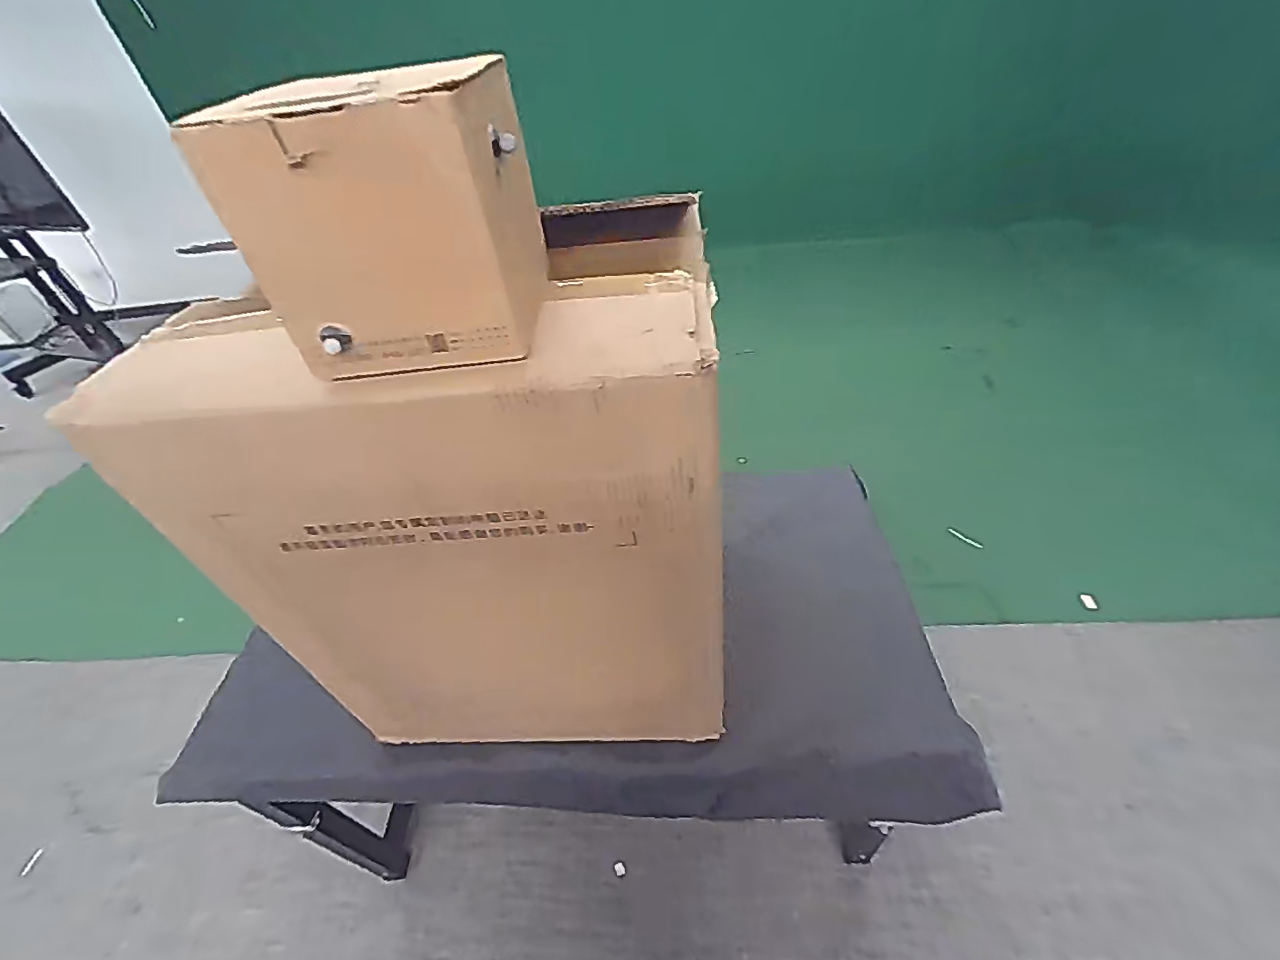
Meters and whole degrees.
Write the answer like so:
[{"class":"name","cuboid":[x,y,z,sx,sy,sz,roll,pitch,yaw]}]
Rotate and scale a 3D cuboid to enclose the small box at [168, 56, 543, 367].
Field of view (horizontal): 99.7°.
[{"class":"small box","cuboid":[-0.179,-0.198,0.415,0.168,0.176,0.179,-5,43,4]}]
